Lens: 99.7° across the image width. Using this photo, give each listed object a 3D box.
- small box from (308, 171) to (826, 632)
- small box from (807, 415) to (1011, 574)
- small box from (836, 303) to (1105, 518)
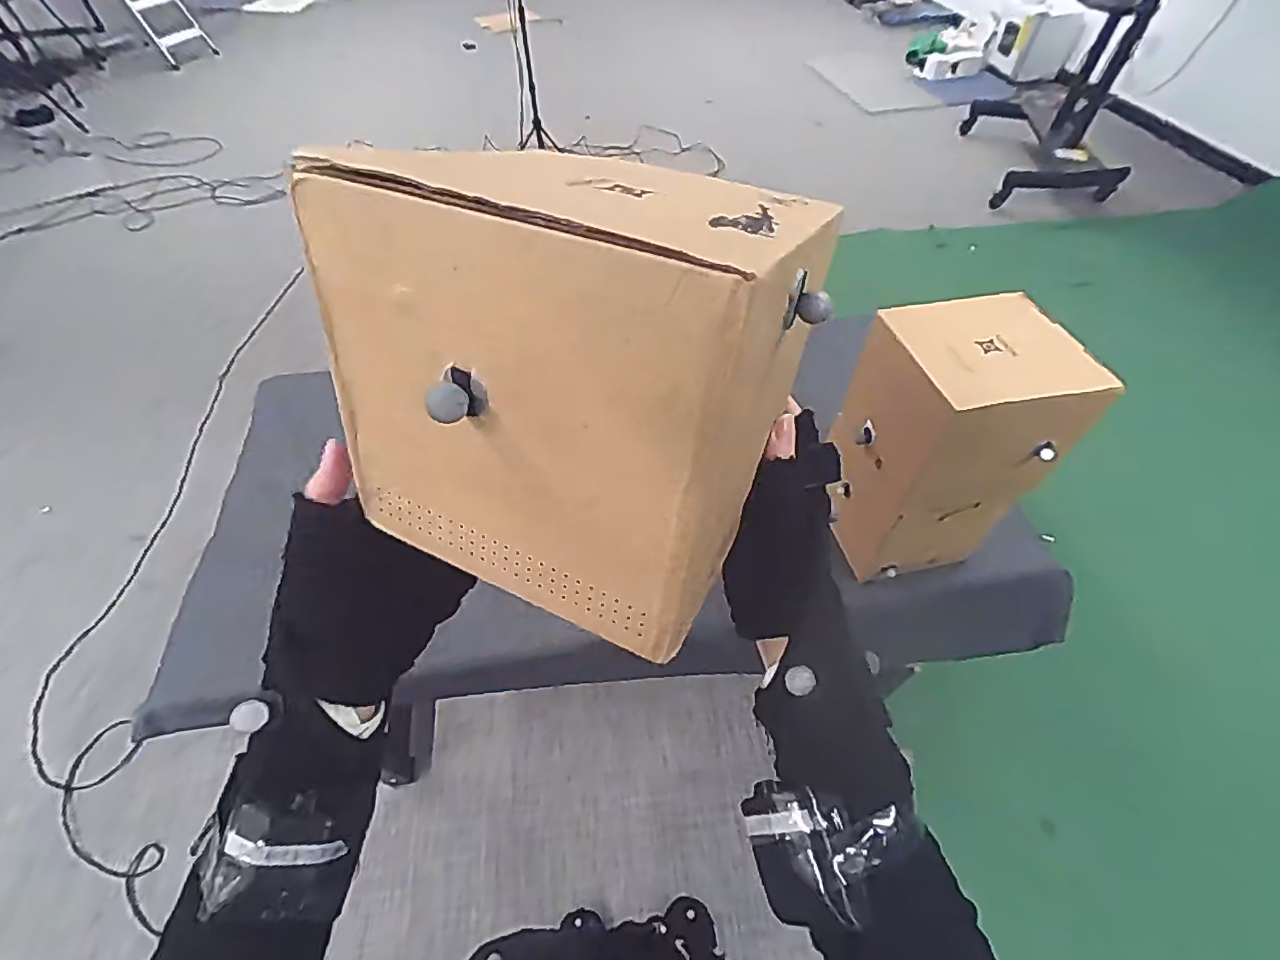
[{"bbox_3d":[-0.025,-0.053,0.284,0.179,0.176,0.168,20,37,17],"label":"small box"},{"bbox_3d":[0.357,0.016,0.758,0.168,0.176,0.179,-10,51,-7],"label":"small box"},{"bbox_3d":[0.356,-0.077,0.626,0.179,0.176,0.168,-9,50,-5],"label":"small box"}]
